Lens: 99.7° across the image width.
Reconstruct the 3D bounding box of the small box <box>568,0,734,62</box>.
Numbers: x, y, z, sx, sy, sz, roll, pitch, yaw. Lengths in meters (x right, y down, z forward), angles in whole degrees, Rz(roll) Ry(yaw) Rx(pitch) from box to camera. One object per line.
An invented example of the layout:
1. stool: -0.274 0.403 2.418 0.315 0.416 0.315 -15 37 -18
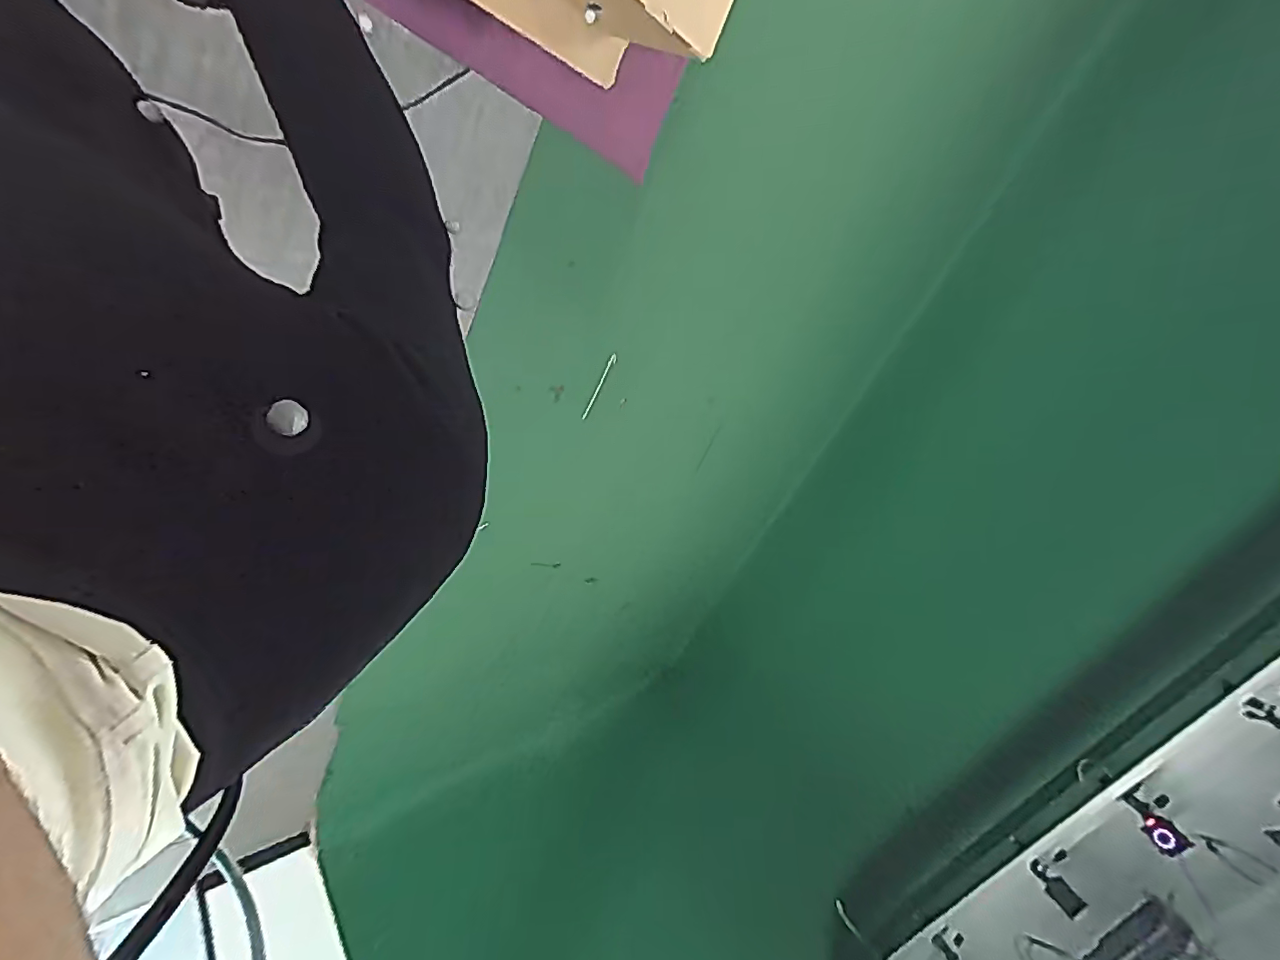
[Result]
1. small box: 0.004 -0.568 0.535 0.168 0.176 0.179 -6 131 -48
